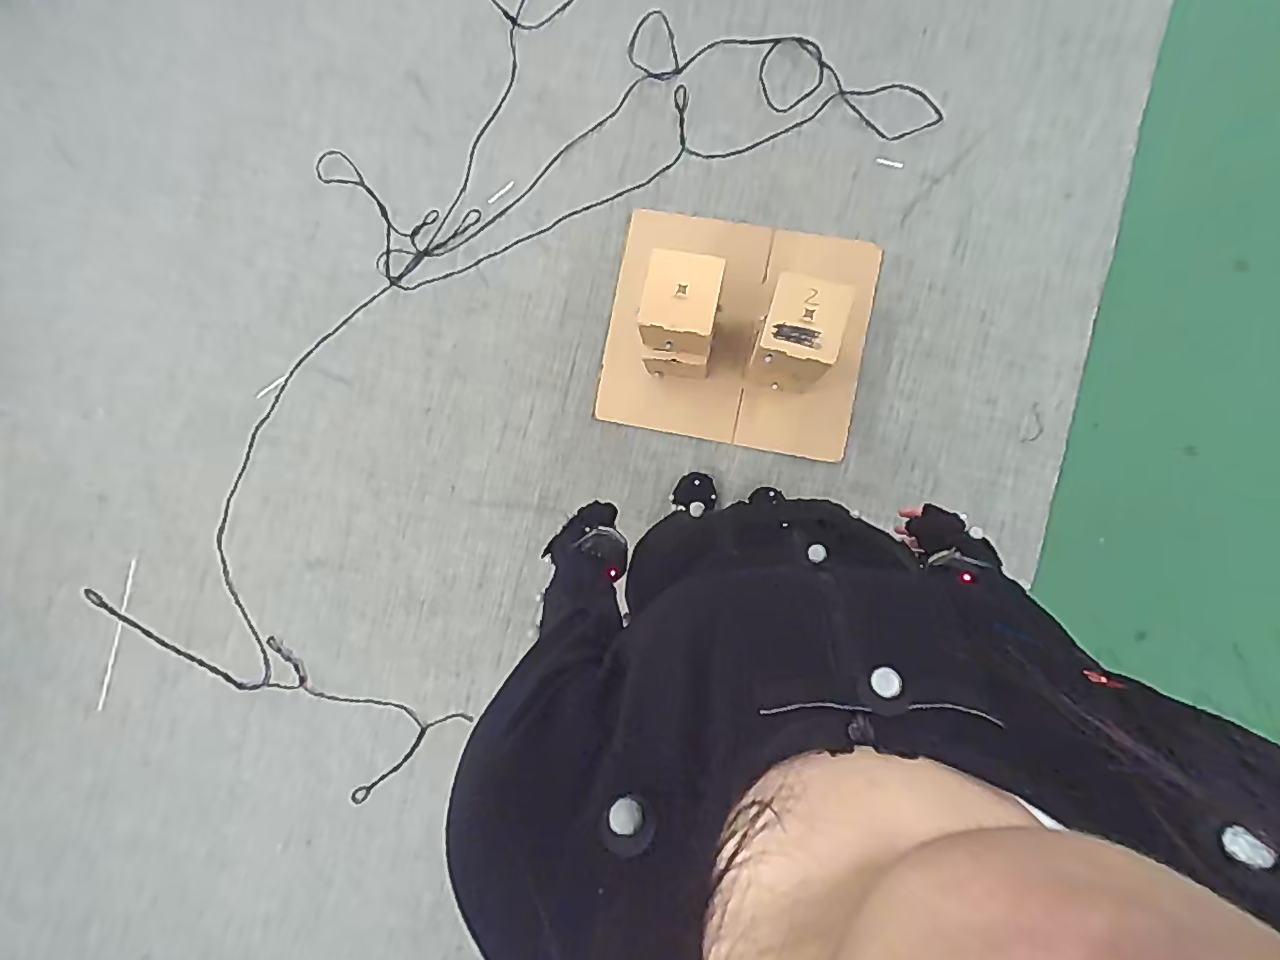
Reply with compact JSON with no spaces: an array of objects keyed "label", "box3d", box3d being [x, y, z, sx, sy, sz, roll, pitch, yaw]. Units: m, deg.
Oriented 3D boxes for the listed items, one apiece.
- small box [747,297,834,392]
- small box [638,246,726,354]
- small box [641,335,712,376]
[{"label":"small box","box3d":[0.379,-0.343,1.395,0.168,0.176,0.179,16,91,7]},{"label":"small box","box3d":[0.098,-0.412,1.257,0.168,0.176,0.179,12,89,5]},{"label":"small box","box3d":[0.104,-0.381,1.420,0.168,0.176,0.179,9,89,6]}]
